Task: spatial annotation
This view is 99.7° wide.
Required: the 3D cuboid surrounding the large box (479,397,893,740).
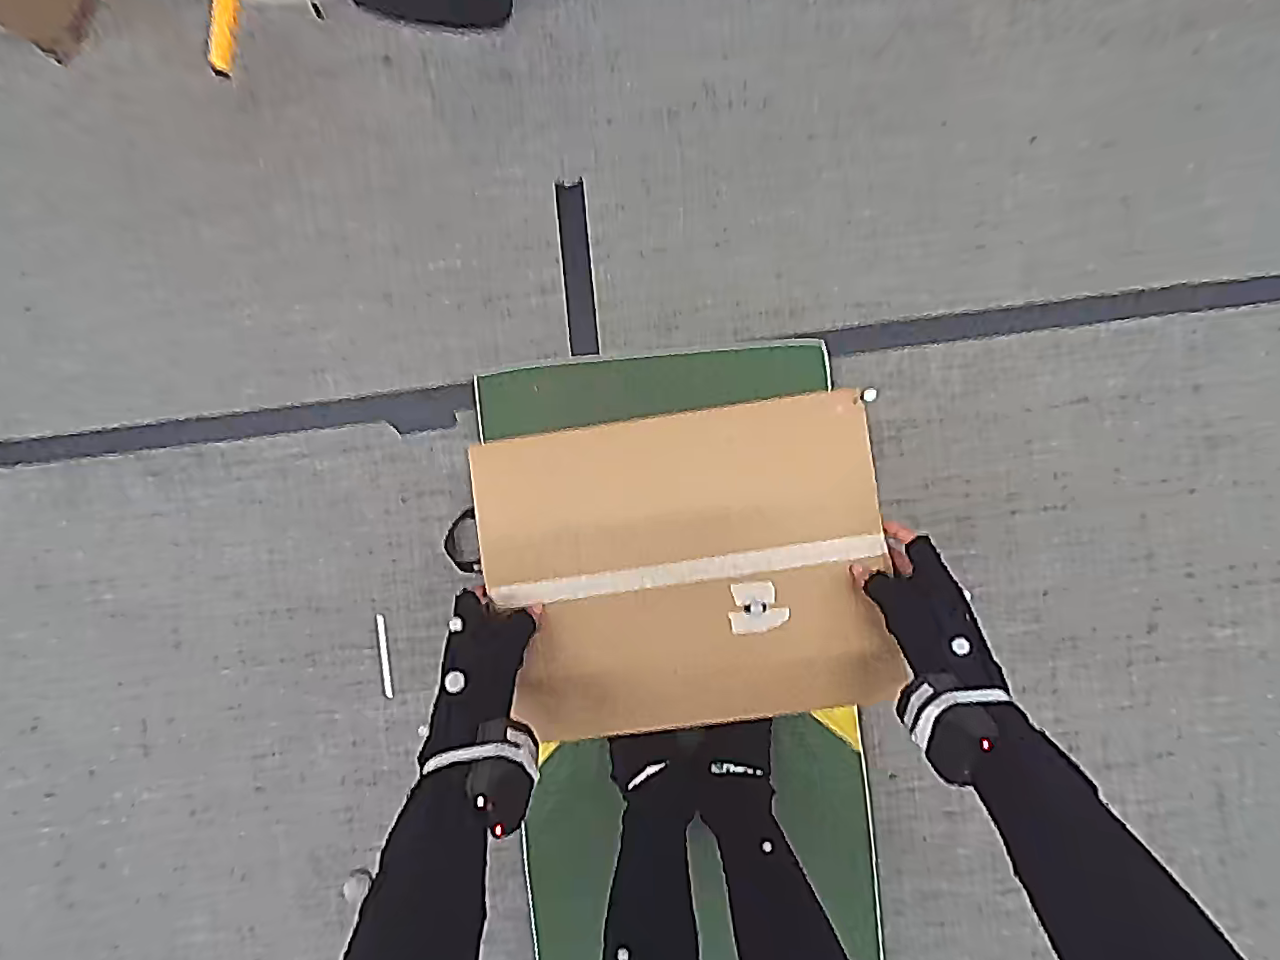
[{"bbox_3d":[0.048,0.100,0.718,0.408,0.320,0.320,-9,89,2],"label":"large box"}]
